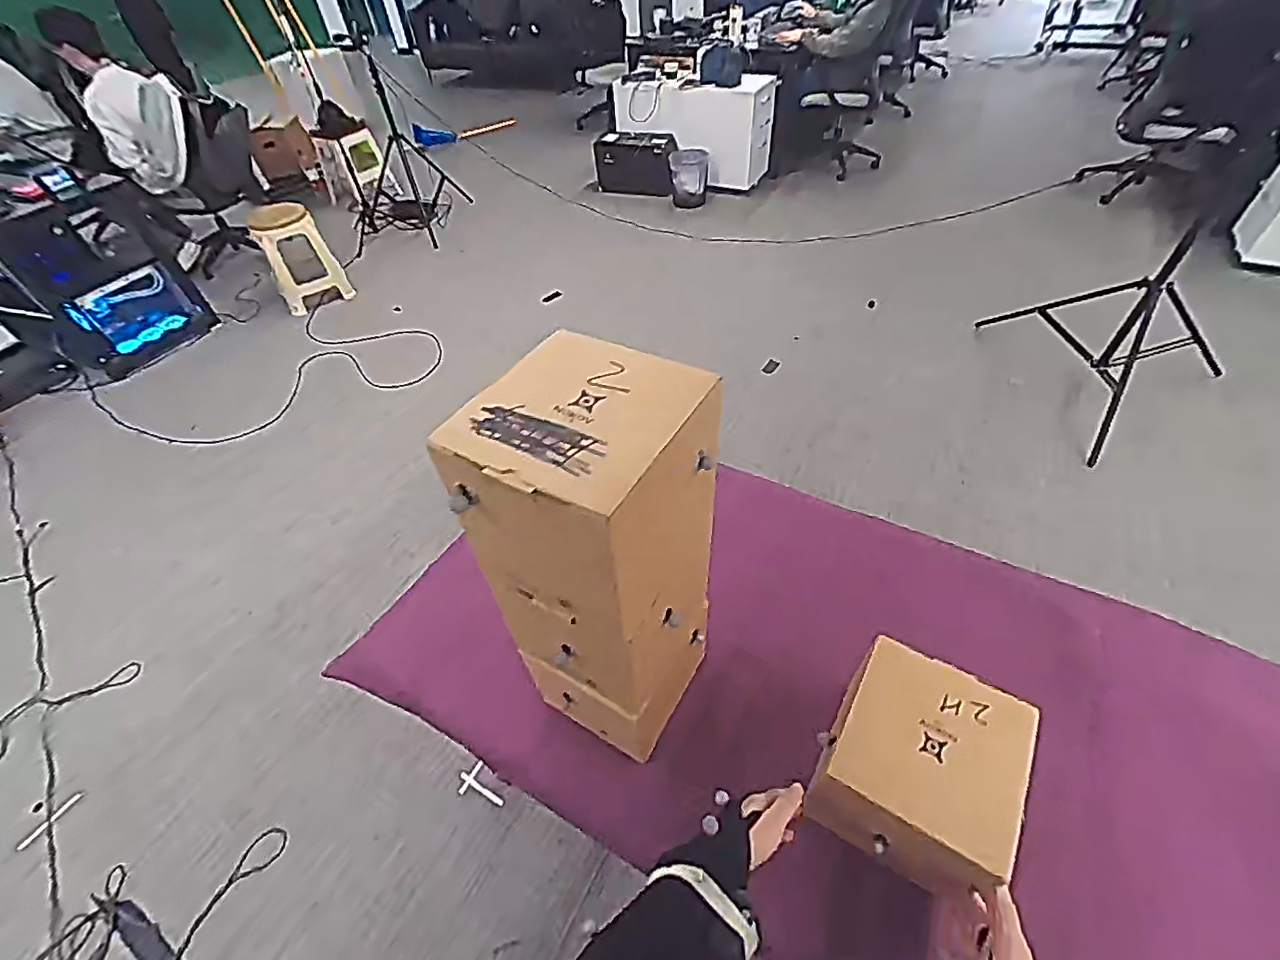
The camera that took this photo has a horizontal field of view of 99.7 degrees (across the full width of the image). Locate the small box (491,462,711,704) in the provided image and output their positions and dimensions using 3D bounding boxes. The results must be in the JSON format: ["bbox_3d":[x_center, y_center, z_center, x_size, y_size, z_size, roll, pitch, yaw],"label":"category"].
[{"bbox_3d":[-0.030,0.116,0.604,0.168,0.176,0.179,21,52,21],"label":"small box"}]

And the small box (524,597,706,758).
[{"bbox_3d":[-0.023,0.232,0.720,0.168,0.176,0.179,22,52,23],"label":"small box"}]

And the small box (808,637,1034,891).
[{"bbox_3d":[0.303,0.321,0.611,0.168,0.176,0.179,24,53,24],"label":"small box"}]
